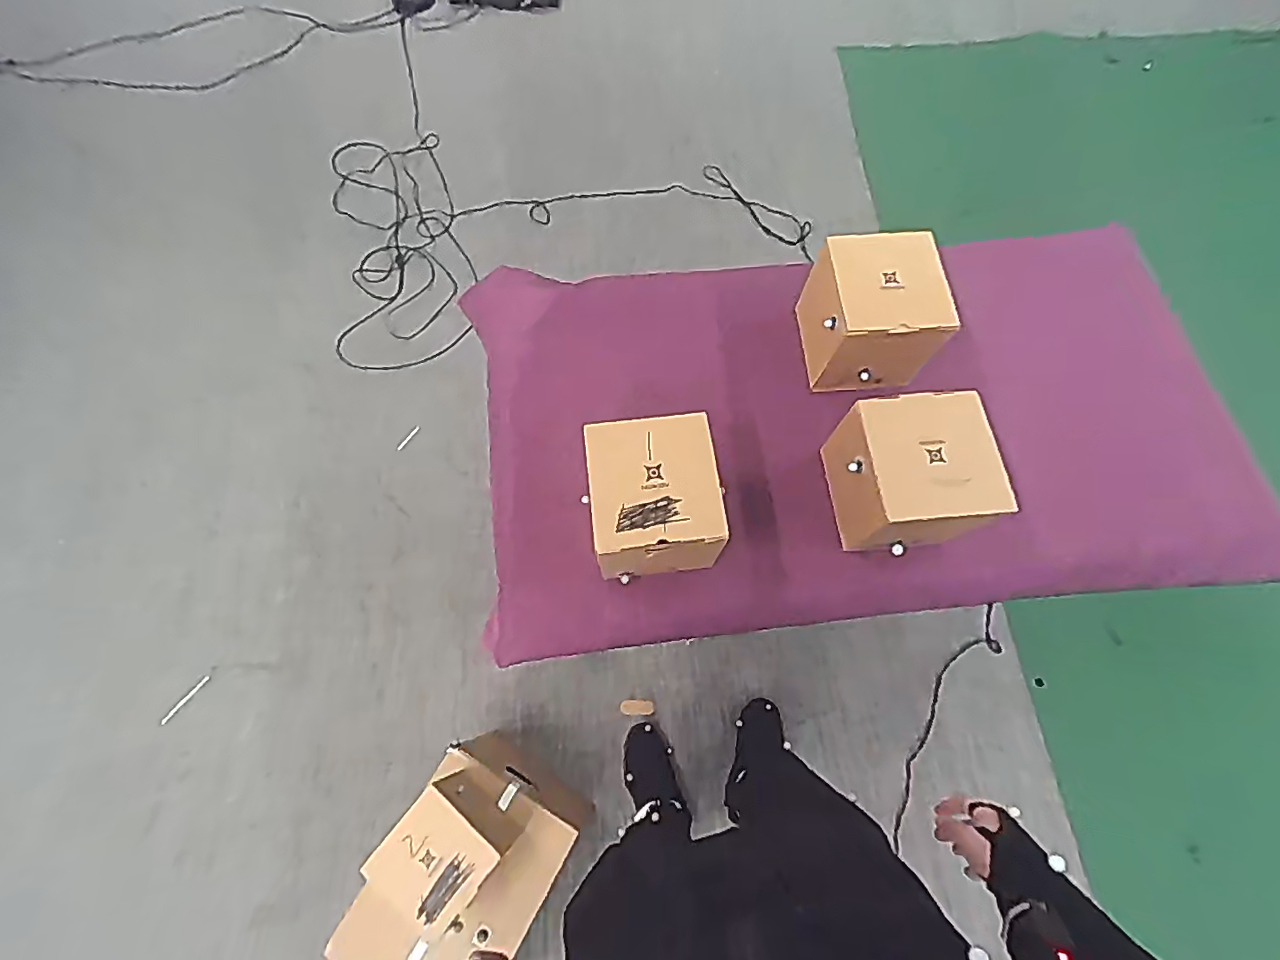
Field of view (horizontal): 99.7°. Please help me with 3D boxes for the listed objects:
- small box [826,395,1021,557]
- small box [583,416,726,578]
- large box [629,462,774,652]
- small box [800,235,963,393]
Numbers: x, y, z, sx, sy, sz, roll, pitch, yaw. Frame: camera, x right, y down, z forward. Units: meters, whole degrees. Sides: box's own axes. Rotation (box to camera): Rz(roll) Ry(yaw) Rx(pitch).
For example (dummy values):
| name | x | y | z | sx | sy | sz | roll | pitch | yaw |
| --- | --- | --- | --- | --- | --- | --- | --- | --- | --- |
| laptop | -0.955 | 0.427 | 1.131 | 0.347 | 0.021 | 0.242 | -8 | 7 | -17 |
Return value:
| name | x | y | z | sx | sy | sz | roll | pitch | yaw |
| --- | --- | --- | --- | --- | --- | --- | --- | --- | --- |
| small box | 0.377 | 0.000 | 0.759 | 0.168 | 0.176 | 0.179 | -4 | 69 | 0 |
| small box | 0.016 | 0.033 | 0.746 | 0.168 | 0.176 | 0.179 | -6 | 68 | -2 |
| large box | 0.125 | 0.208 | 1.389 | 0.320 | 0.320 | 0.408 | -5 | 69 | -2 |
| small box | 0.366 | -0.257 | 0.857 | 0.168 | 0.176 | 0.179 | -3 | 71 | -1 |
